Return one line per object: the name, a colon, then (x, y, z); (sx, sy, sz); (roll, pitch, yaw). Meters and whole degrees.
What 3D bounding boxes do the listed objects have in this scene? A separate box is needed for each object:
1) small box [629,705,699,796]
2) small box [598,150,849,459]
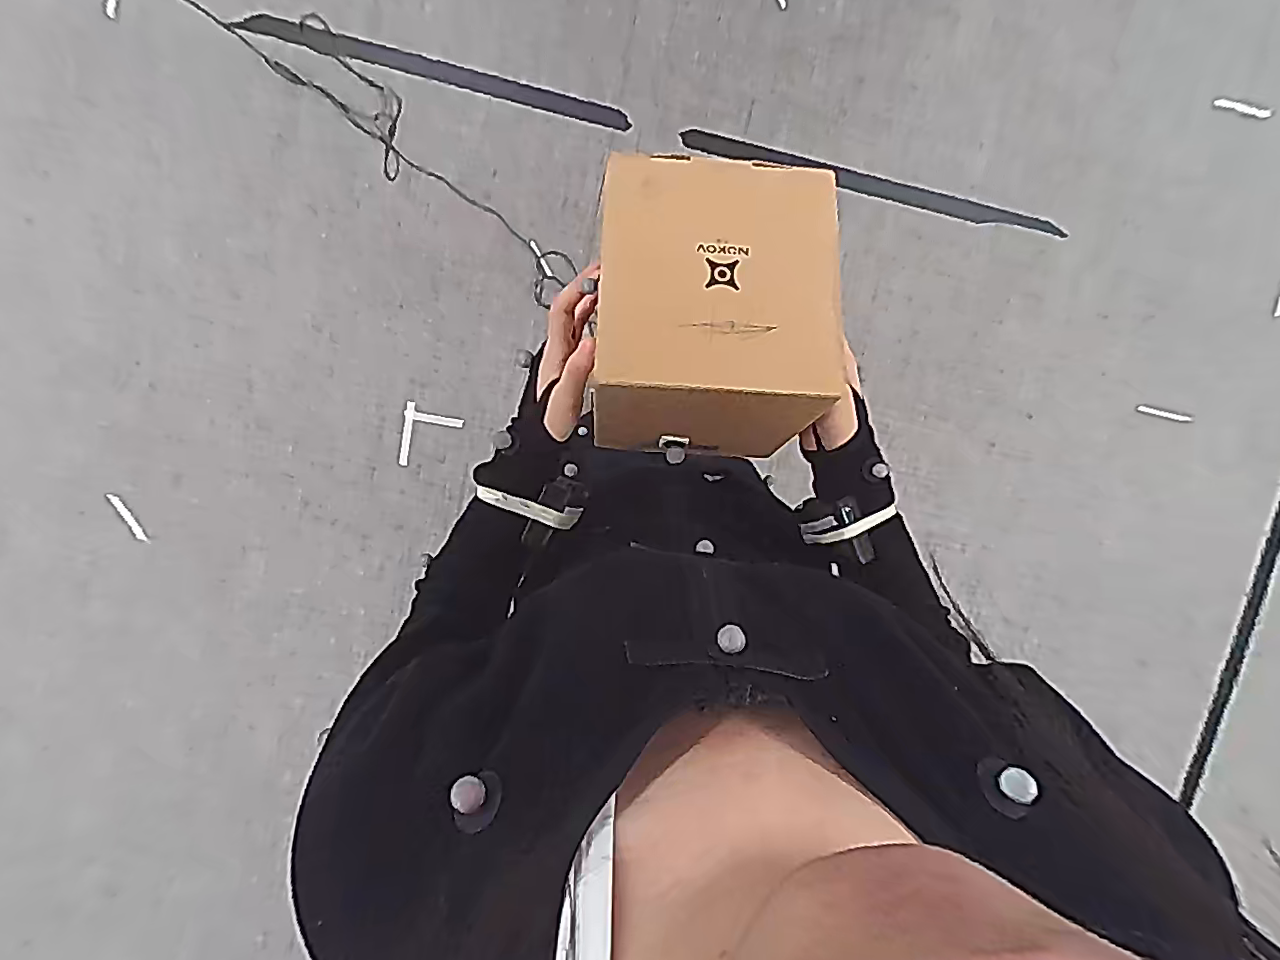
small box: (0.061, 0.731, 1.477); (0.179, 0.176, 0.168); (0, 95, -2)
small box: (0.052, -0.125, 0.442); (0.168, 0.176, 0.179); (2, 78, -3)
